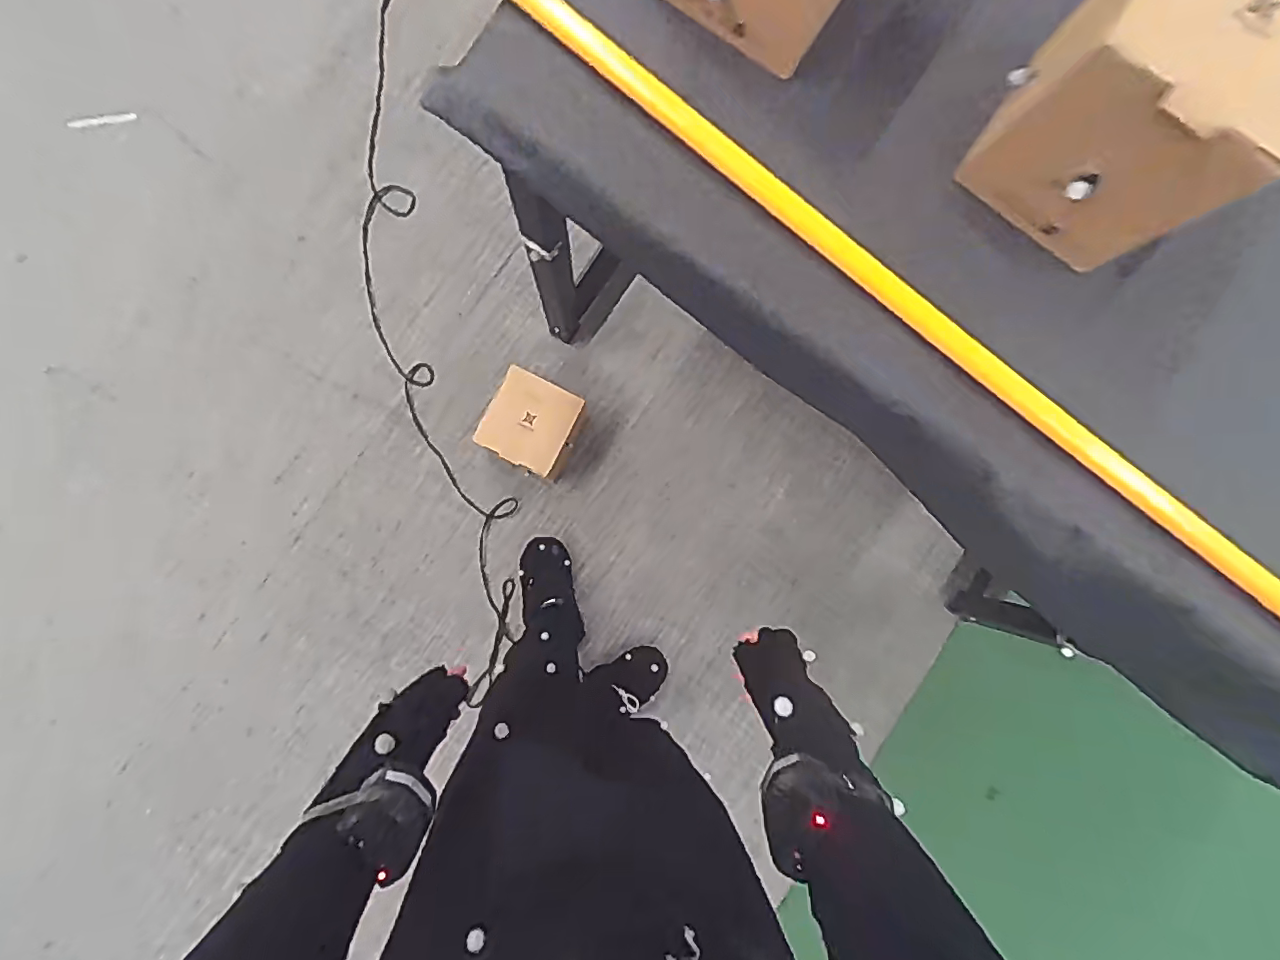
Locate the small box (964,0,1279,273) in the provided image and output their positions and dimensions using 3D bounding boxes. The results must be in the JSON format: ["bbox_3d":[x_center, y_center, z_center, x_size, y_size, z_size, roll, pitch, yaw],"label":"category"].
[{"bbox_3d":[0.431,-0.321,0.475,0.168,0.176,0.179,32,84,0],"label":"small box"}]
